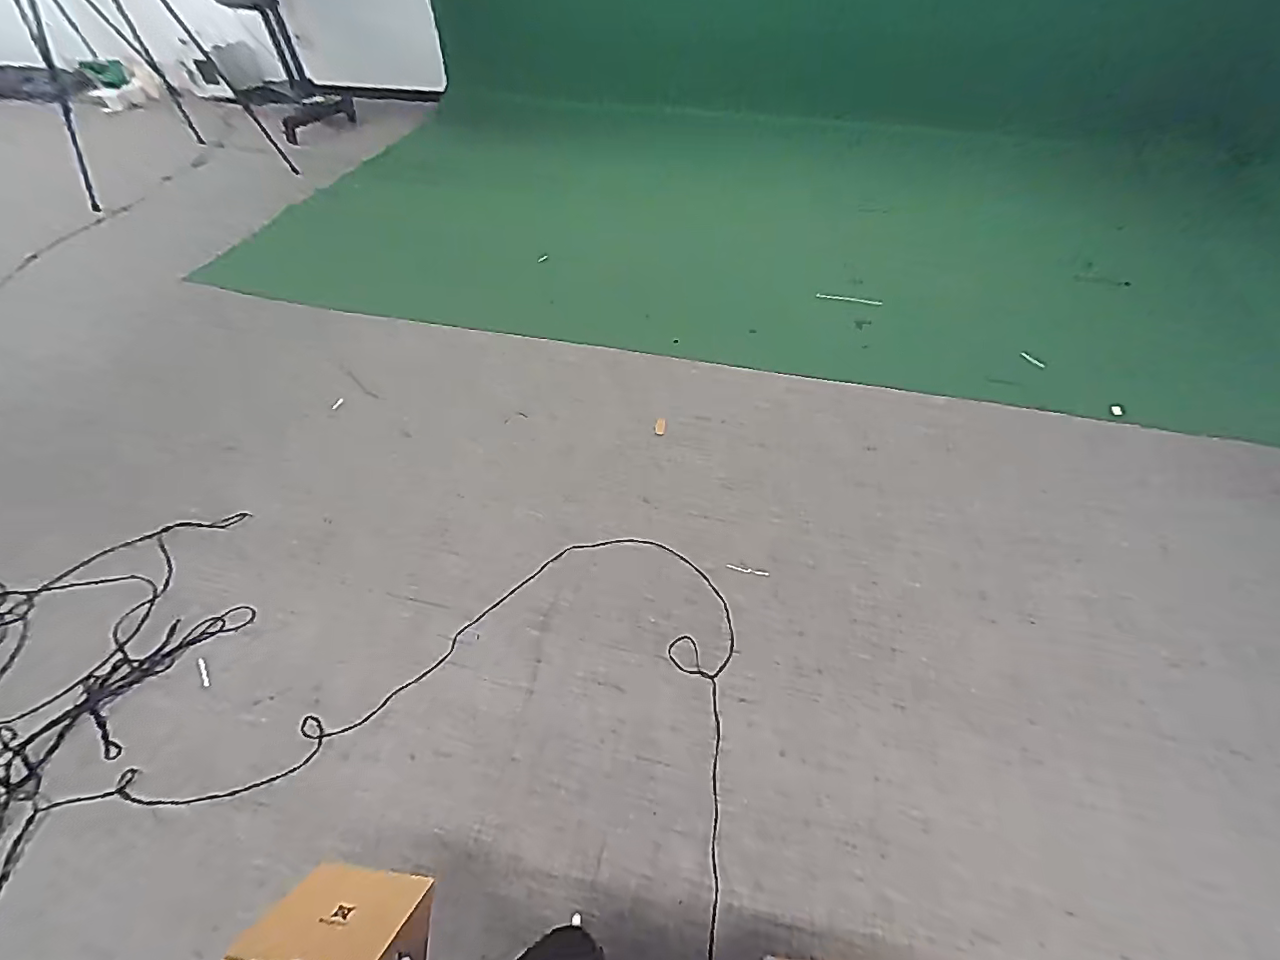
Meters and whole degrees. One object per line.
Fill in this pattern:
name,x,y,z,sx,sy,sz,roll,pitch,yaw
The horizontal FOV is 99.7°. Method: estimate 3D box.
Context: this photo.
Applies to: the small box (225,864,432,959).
small box,-0.380,0.619,0.659,0.168,0.179,0.176,5,85,4
